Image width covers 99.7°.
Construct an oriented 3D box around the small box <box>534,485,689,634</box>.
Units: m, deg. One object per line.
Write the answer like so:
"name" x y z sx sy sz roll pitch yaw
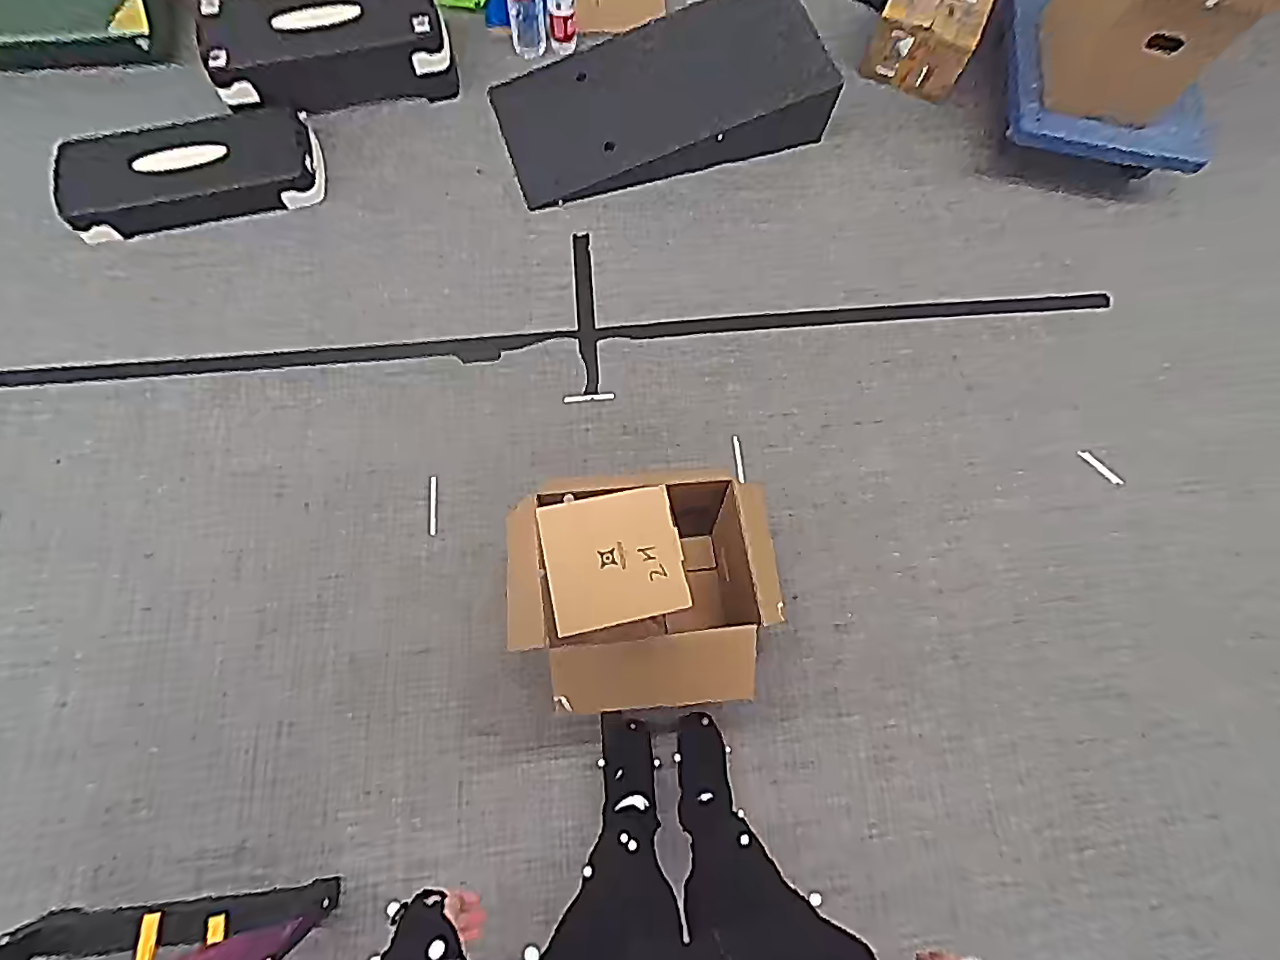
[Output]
"small box" -0.045 0.116 0.766 0.179 0.176 0.168 -11 79 -9
